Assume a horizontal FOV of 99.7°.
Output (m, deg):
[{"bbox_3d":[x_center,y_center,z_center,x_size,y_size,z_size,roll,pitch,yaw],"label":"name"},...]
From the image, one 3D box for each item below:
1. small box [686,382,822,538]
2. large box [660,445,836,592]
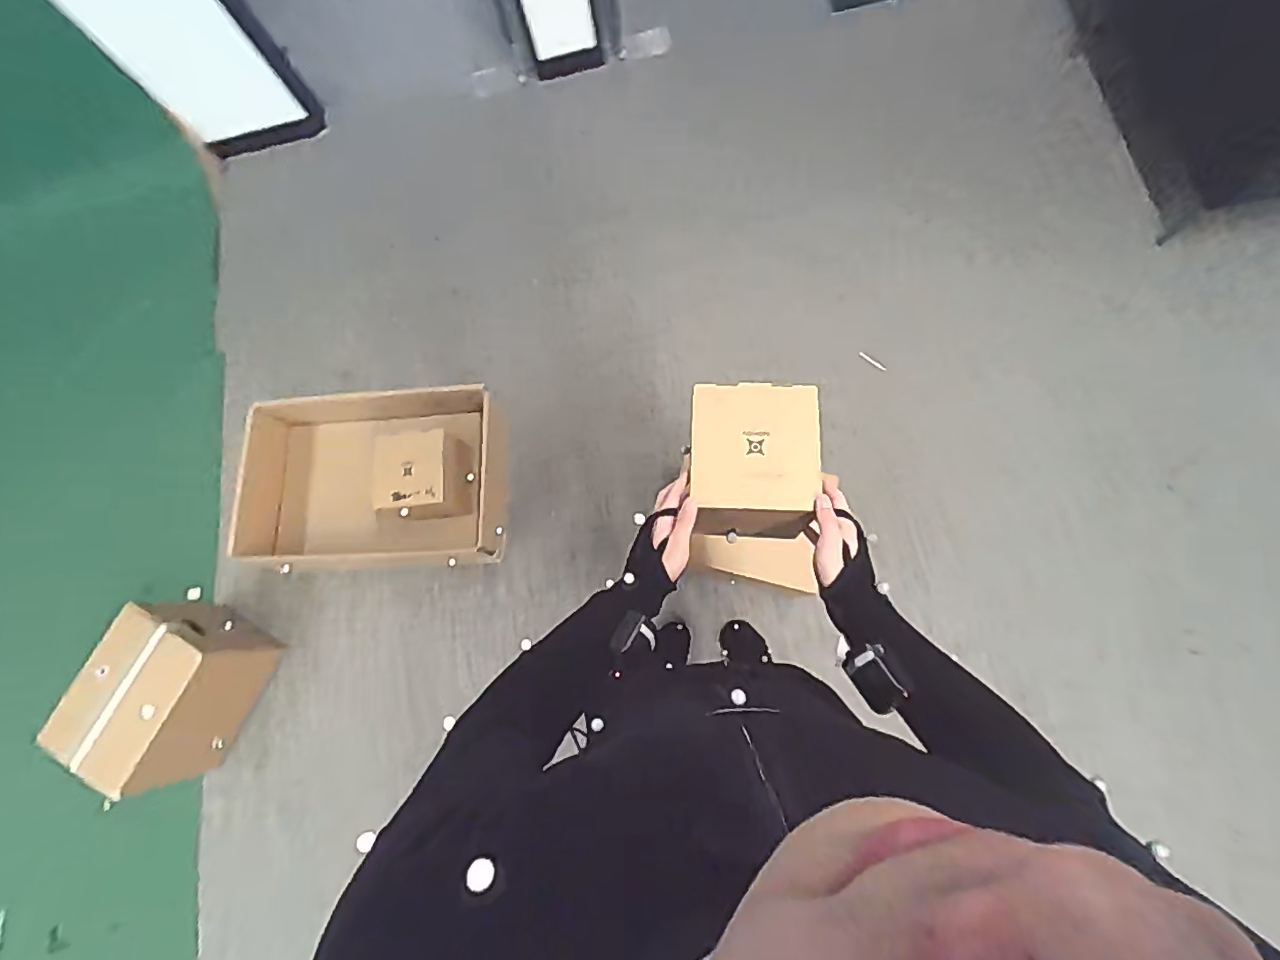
[{"bbox_3d":[0.152,-0.023,0.770,0.168,0.176,0.179,1,73,4],"label":"small box"},{"bbox_3d":[0.296,0.122,1.531,0.408,0.320,0.320,13,78,10],"label":"large box"}]
